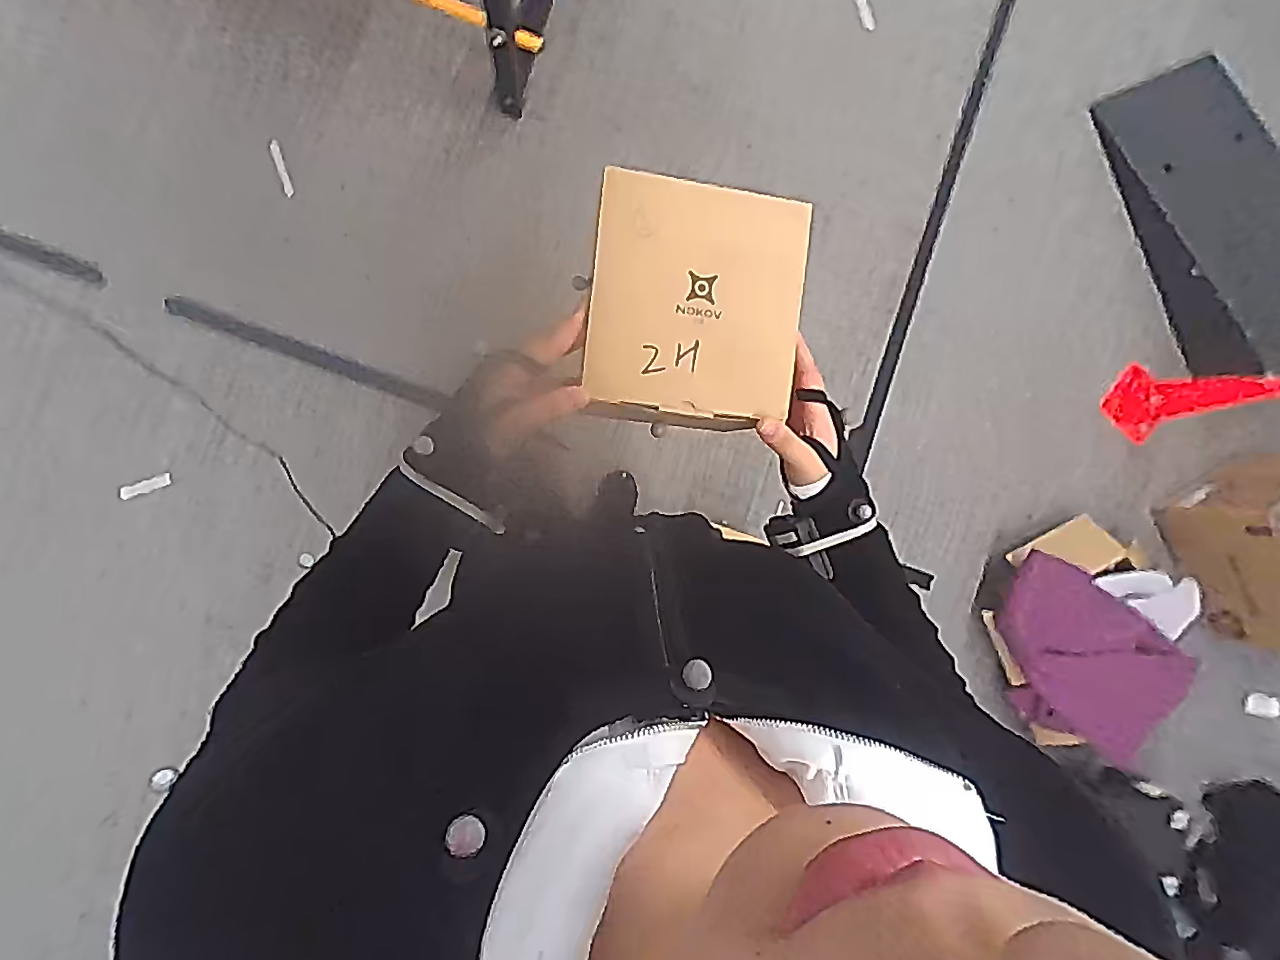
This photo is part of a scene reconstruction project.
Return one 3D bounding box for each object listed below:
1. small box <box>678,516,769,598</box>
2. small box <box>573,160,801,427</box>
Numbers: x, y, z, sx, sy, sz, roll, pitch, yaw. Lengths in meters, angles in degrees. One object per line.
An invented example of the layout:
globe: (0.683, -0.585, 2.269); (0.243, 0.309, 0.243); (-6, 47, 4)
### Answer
small box: (0.217, 0.200, 1.460); (0.179, 0.176, 0.168); (19, 89, -7)
small box: (0.028, -0.148, 0.493); (0.168, 0.176, 0.179); (5, 92, -8)
